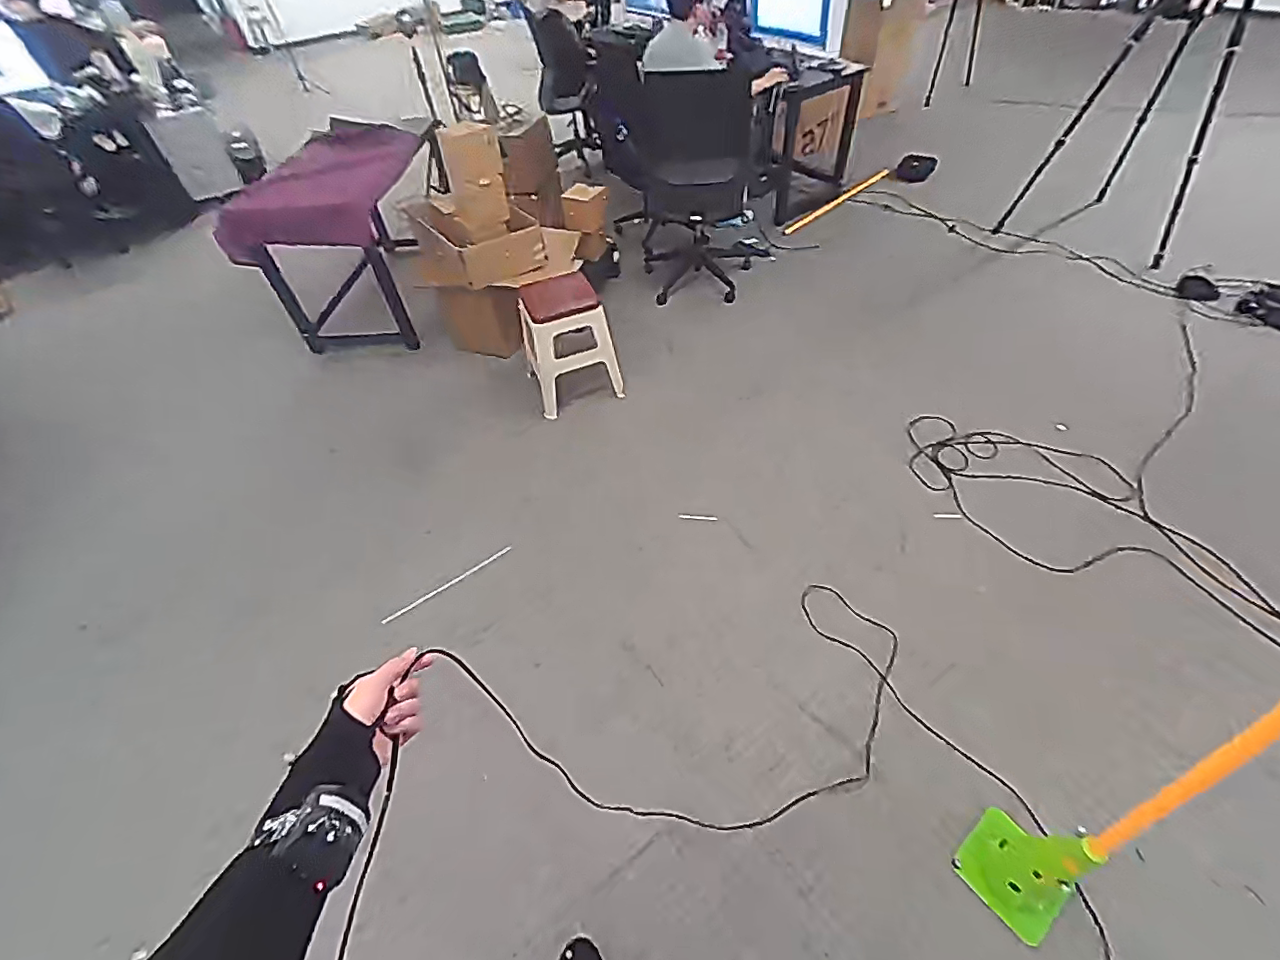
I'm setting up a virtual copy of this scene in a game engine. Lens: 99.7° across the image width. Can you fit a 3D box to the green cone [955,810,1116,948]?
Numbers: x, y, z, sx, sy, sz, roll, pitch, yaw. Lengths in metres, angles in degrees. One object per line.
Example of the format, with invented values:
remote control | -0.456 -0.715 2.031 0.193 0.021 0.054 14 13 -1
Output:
green cone | 0.853 0.793 1.113 0.202 0.368 0.200 -32 54 -23
